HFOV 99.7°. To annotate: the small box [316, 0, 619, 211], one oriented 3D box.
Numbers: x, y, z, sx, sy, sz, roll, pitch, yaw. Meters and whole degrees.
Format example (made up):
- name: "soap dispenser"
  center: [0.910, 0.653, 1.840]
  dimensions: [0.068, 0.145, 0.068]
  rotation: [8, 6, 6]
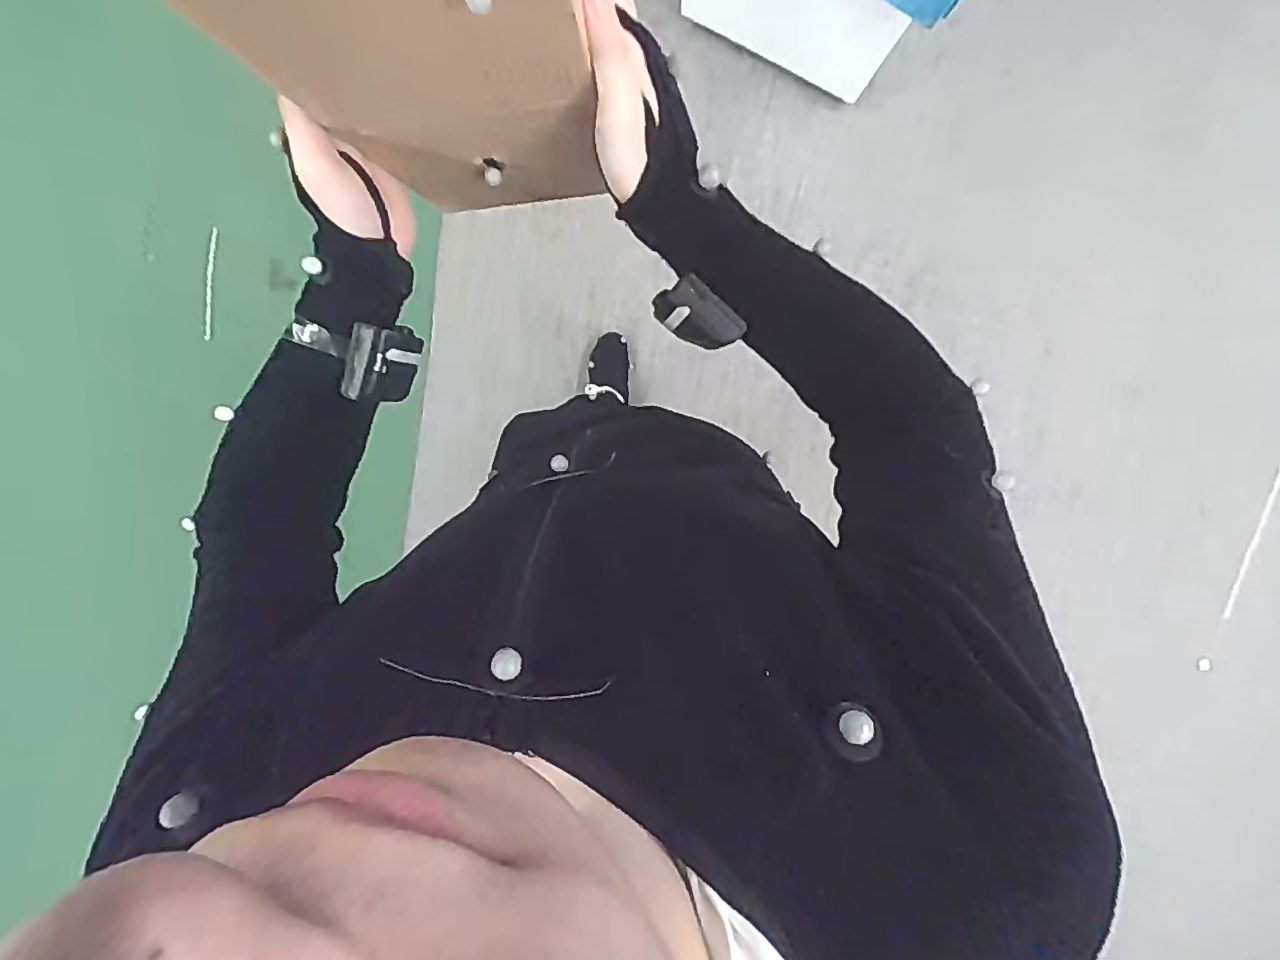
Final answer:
- name: "small box"
  center: [-0.111, -0.322, 0.408]
  dimensions: [0.179, 0.176, 0.168]
  rotation: [-5, 99, 5]
